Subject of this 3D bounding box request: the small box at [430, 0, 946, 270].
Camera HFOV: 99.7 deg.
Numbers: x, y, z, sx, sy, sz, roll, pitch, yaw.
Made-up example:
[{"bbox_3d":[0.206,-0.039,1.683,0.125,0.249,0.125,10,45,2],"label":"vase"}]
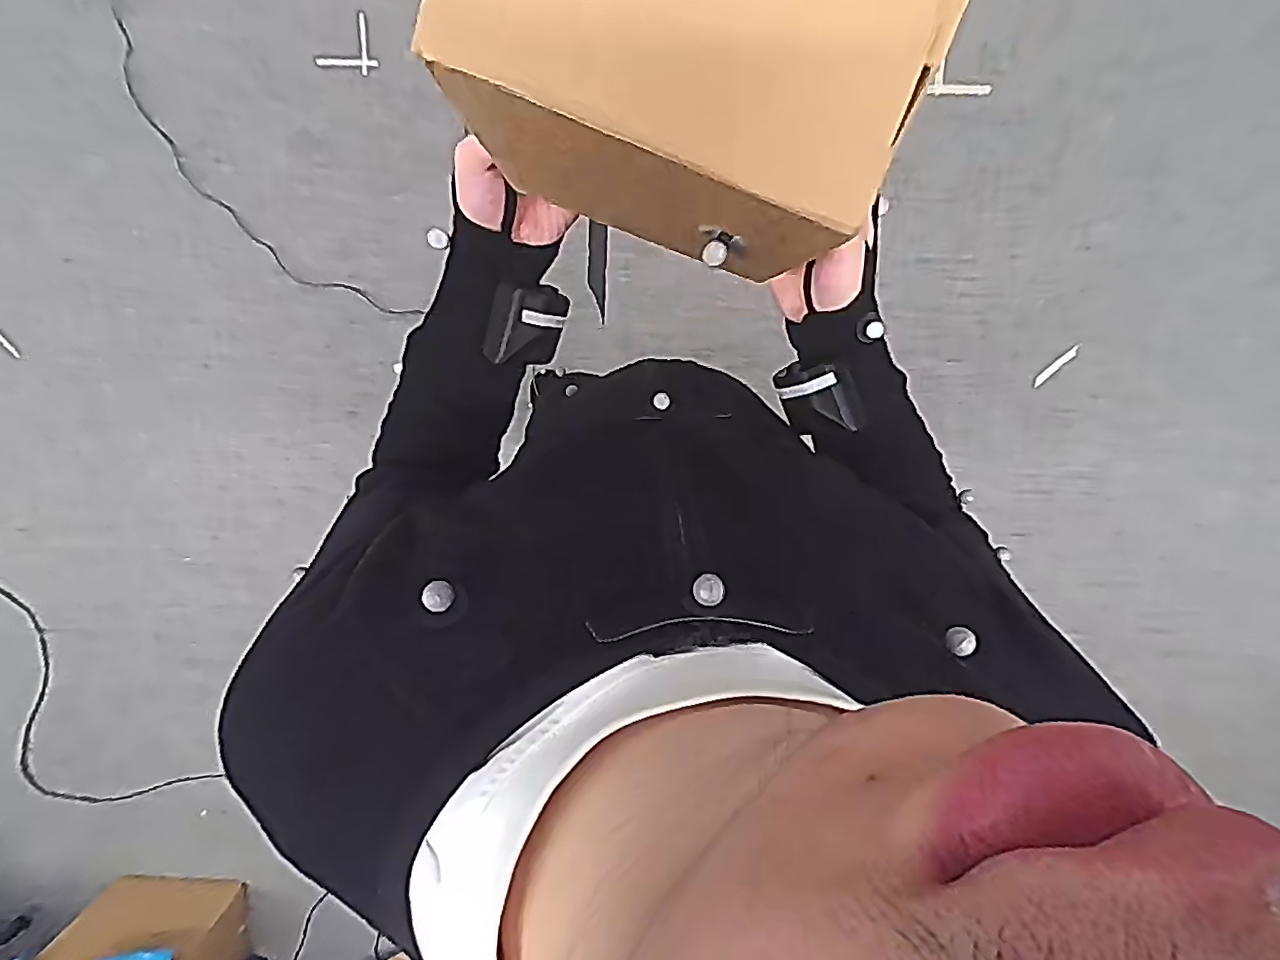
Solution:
[{"bbox_3d":[0.028,-0.217,0.268,0.179,0.176,0.168,18,102,-4],"label":"small box"}]
